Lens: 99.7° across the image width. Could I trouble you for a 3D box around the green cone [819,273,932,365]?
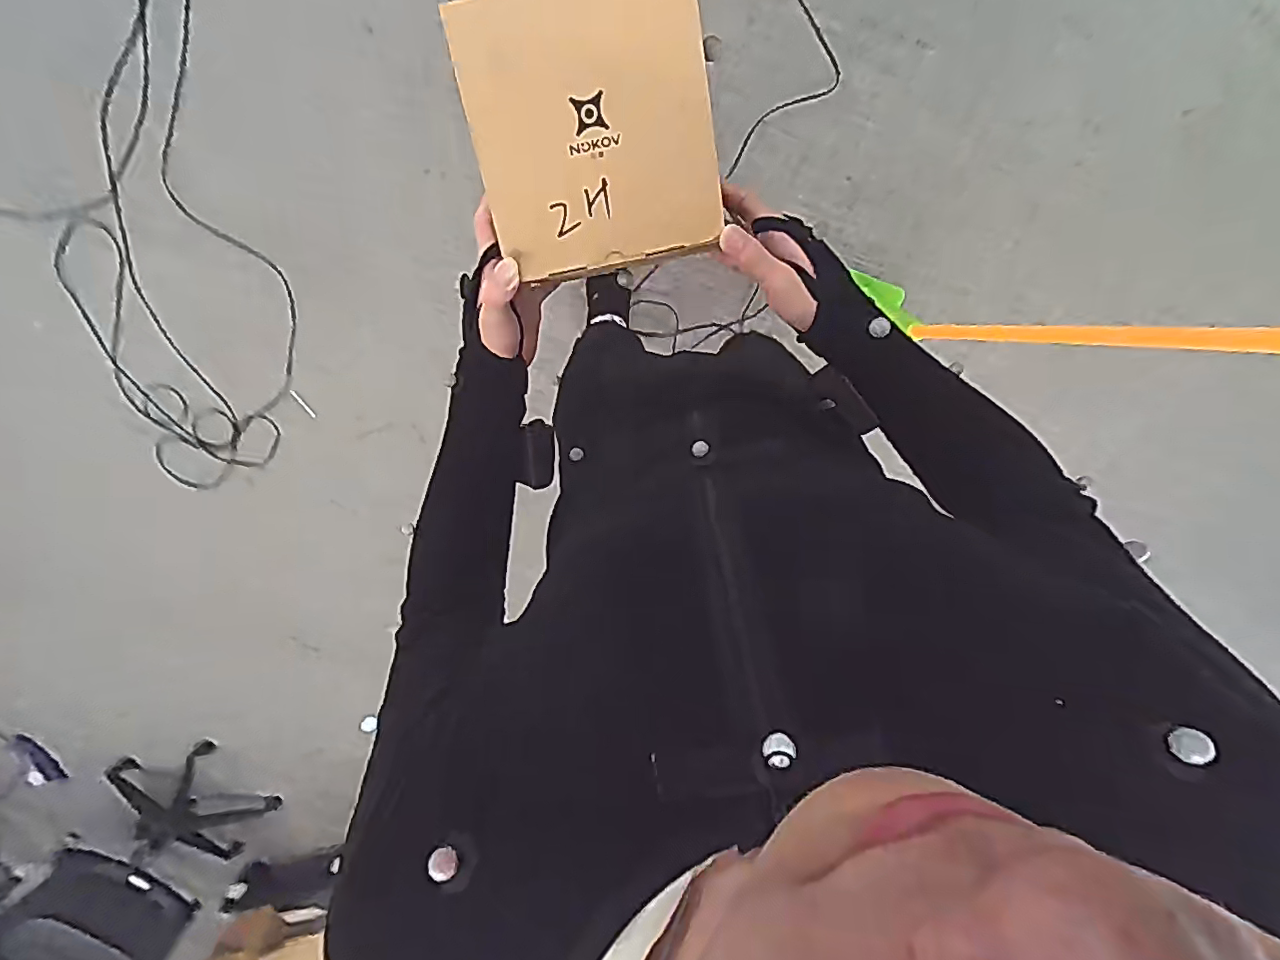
[{"bbox_3d":[0.600,-0.368,1.289,0.202,0.368,0.200,18,110,-5],"label":"green cone"}]
